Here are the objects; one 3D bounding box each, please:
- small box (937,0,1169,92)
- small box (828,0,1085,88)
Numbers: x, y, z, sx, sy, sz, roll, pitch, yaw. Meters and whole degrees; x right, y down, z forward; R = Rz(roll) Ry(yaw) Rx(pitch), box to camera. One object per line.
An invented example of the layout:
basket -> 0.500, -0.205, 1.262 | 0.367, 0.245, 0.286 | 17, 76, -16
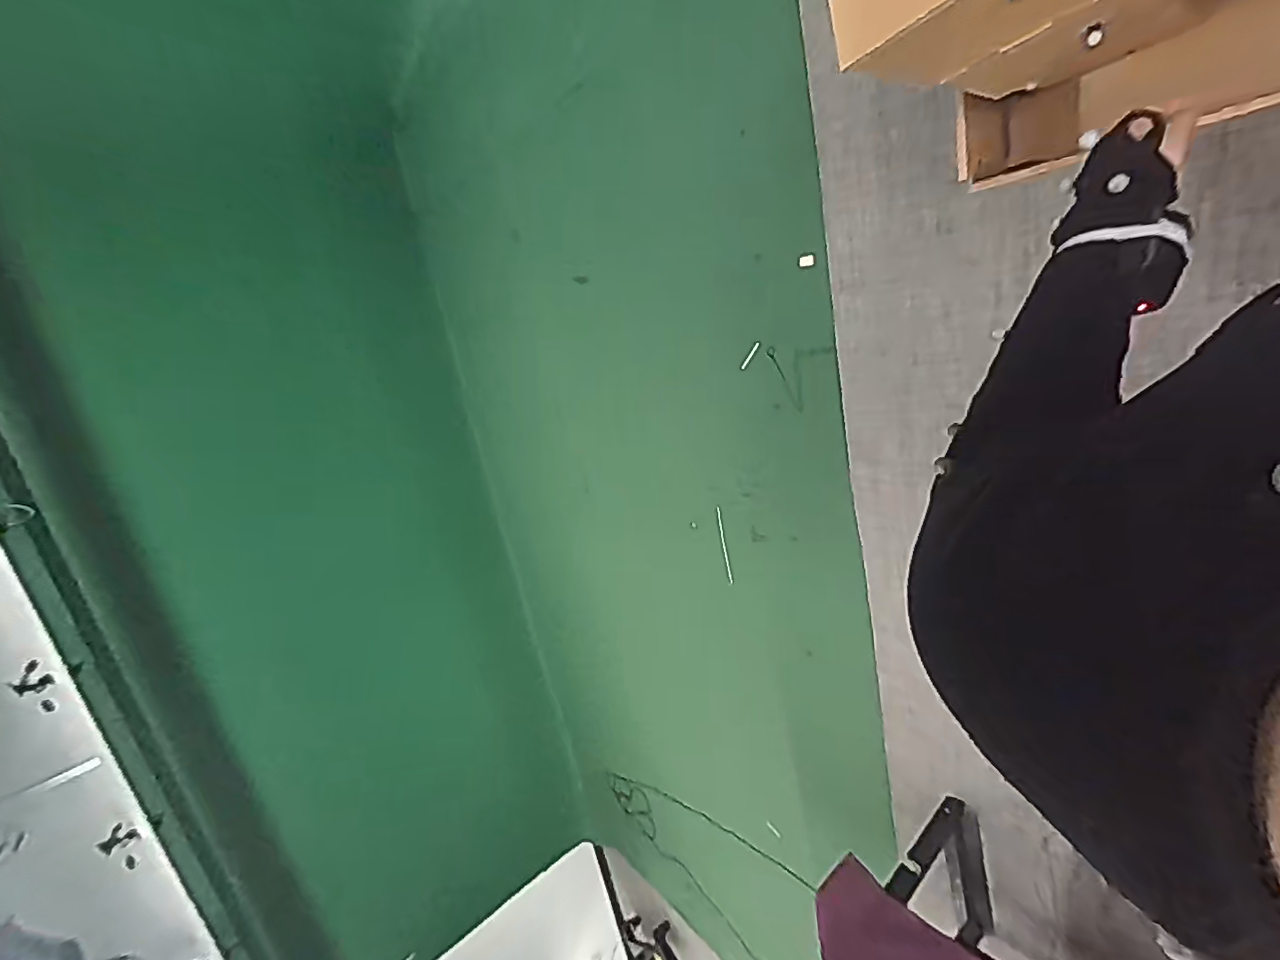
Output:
small box -> 0.416, -0.533, 0.555 | 0.168, 0.176, 0.179 | 2, 110, 53
small box -> 0.283, -0.482, 0.475 | 0.179, 0.176, 0.168 | 0, 108, 52
